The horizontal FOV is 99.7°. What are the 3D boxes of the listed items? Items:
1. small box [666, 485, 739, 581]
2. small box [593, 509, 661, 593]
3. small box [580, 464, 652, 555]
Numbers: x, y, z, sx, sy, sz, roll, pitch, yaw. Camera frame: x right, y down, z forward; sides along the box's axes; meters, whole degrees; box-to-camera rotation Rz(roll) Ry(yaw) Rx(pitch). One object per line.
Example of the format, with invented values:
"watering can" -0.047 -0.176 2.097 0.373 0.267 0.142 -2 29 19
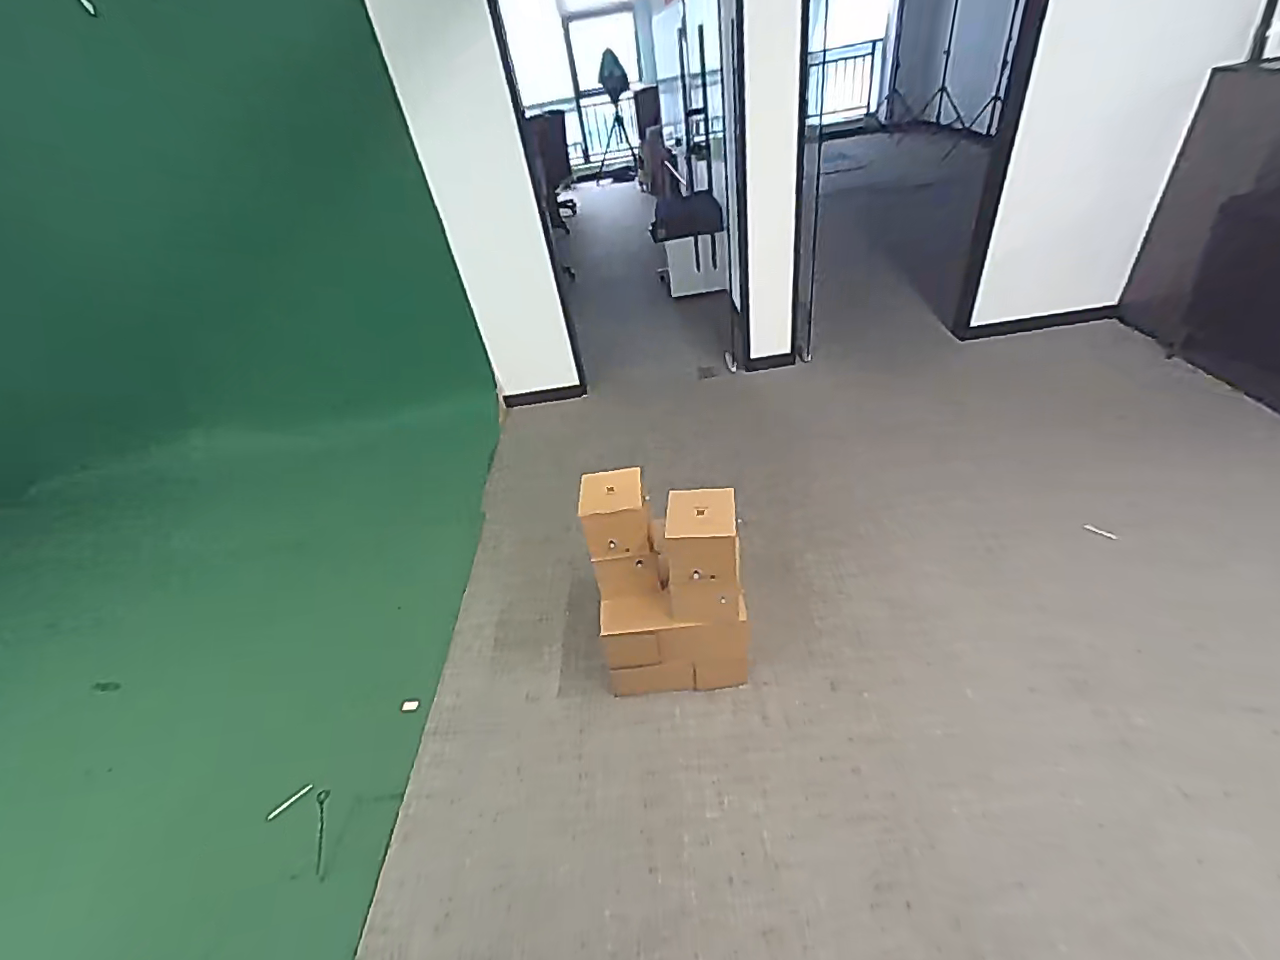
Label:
"small box" 0.160 0.131 1.355 0.168 0.176 0.179 -2 39 10
"small box" -0.033 0.208 1.574 0.179 0.176 0.168 -9 36 3
"small box" -0.060 0.080 1.475 0.168 0.176 0.179 -8 38 5
